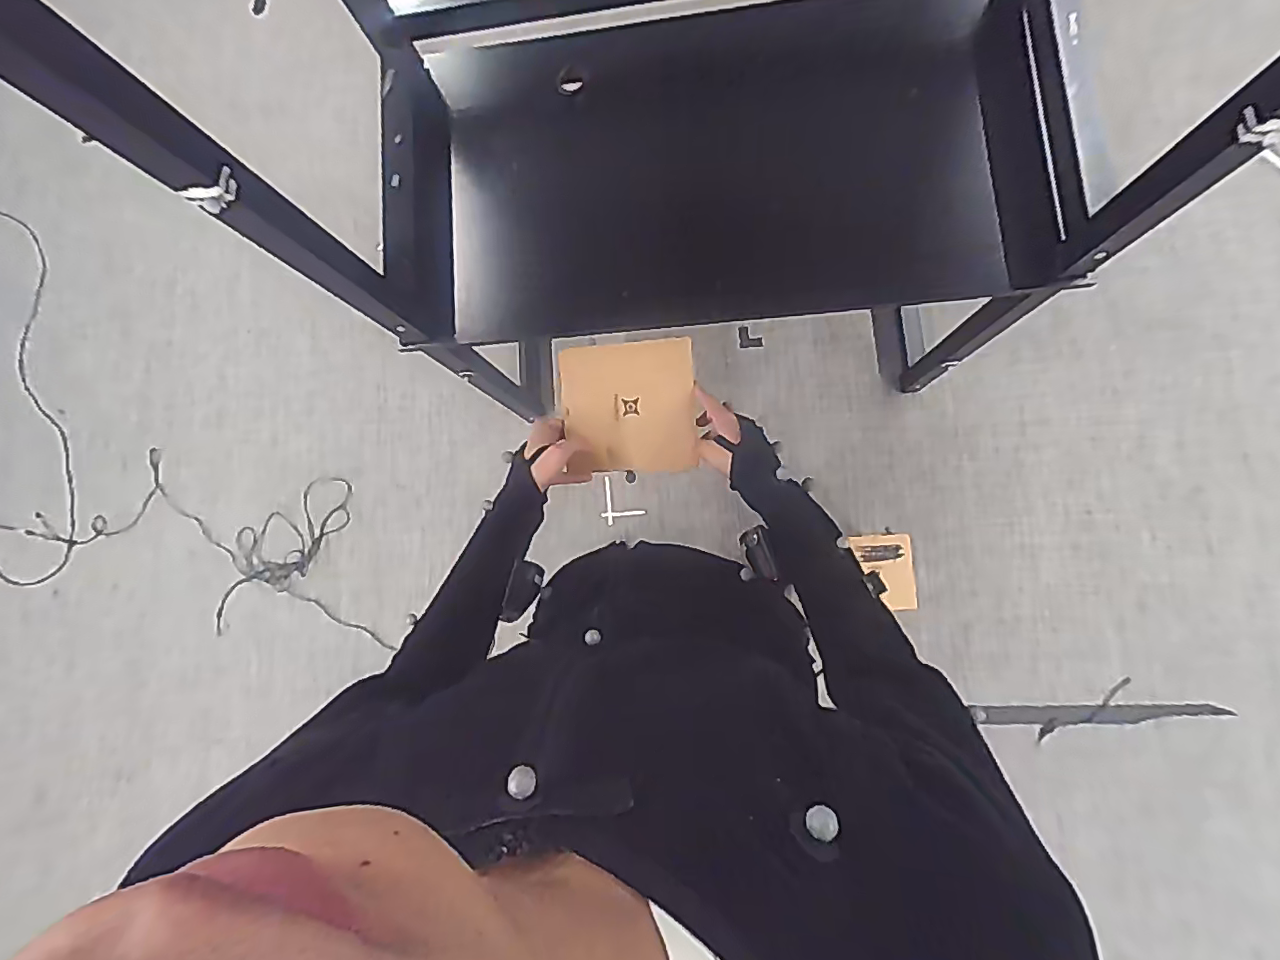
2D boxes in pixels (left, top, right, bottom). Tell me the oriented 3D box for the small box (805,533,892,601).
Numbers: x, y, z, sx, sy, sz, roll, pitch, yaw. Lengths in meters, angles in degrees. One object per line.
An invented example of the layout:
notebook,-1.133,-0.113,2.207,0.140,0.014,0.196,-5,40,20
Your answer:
small box,0.566,0.234,1.486,0.179,0.176,0.168,-6,83,7

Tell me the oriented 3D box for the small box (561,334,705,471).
small box,0.001,-0.103,0.762,0.179,0.176,0.168,-3,94,9
